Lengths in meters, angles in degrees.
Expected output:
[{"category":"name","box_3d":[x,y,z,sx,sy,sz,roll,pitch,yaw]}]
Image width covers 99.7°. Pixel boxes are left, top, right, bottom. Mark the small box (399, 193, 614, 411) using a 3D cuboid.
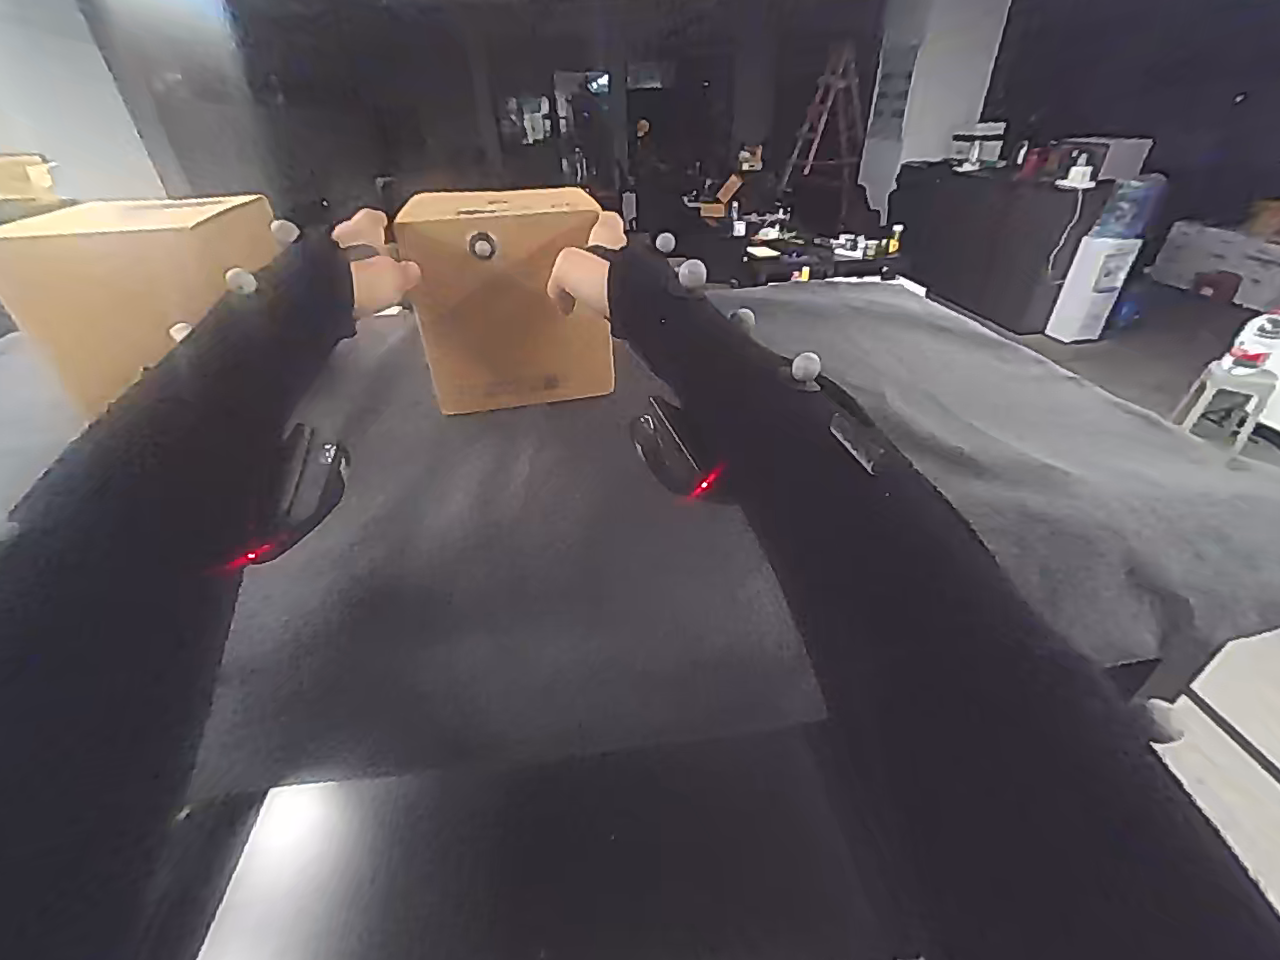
[{"category":"small box","box_3d":[-0.122,-0.184,0.543,0.168,0.176,0.179,-9,33,-9]}]
